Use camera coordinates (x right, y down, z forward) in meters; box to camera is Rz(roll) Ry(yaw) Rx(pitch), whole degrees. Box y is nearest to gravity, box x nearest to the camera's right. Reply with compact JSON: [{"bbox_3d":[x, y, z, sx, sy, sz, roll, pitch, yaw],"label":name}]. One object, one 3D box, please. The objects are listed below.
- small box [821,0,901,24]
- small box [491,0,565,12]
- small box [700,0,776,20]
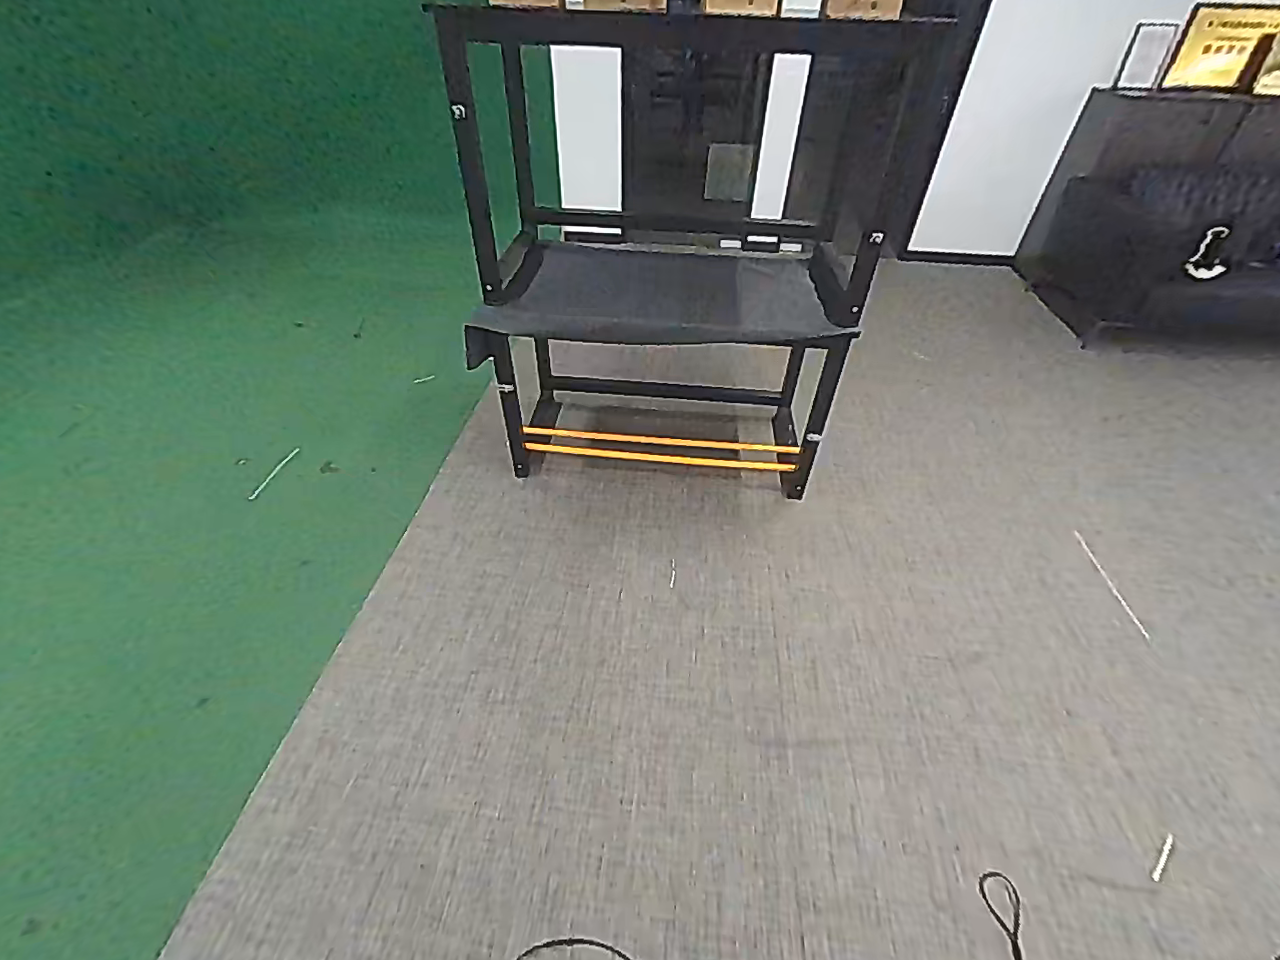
[{"bbox_3d":[0.529,-1.186,1.266,0.168,0.176,0.179,7,43,7],"label":"small box"},{"bbox_3d":[-0.275,-1.249,1.309,0.168,0.176,0.179,2,42,-1],"label":"small box"},{"bbox_3d":[0.236,-1.202,1.278,0.168,0.176,0.179,1,41,-1],"label":"small box"}]
